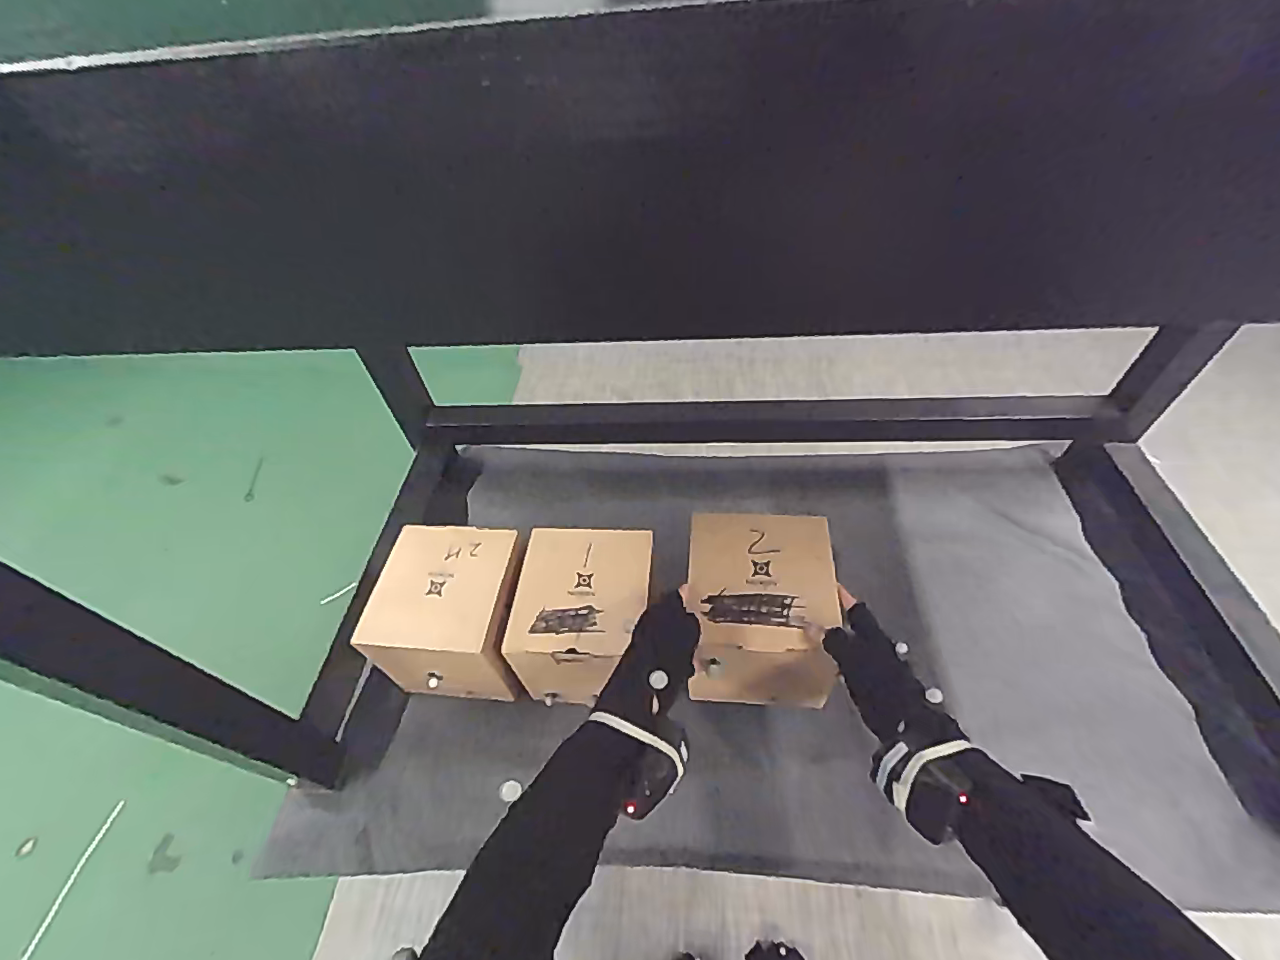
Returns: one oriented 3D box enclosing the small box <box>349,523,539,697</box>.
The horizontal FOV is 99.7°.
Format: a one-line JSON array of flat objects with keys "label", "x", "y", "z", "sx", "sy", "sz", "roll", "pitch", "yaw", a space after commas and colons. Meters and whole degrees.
[{"label": "small box", "x": -0.247, "y": 0.180, "z": 0.737, "sx": 0.168, "sy": 0.176, "sz": 0.179, "roll": 3, "pitch": 50, "yaw": 7}]
